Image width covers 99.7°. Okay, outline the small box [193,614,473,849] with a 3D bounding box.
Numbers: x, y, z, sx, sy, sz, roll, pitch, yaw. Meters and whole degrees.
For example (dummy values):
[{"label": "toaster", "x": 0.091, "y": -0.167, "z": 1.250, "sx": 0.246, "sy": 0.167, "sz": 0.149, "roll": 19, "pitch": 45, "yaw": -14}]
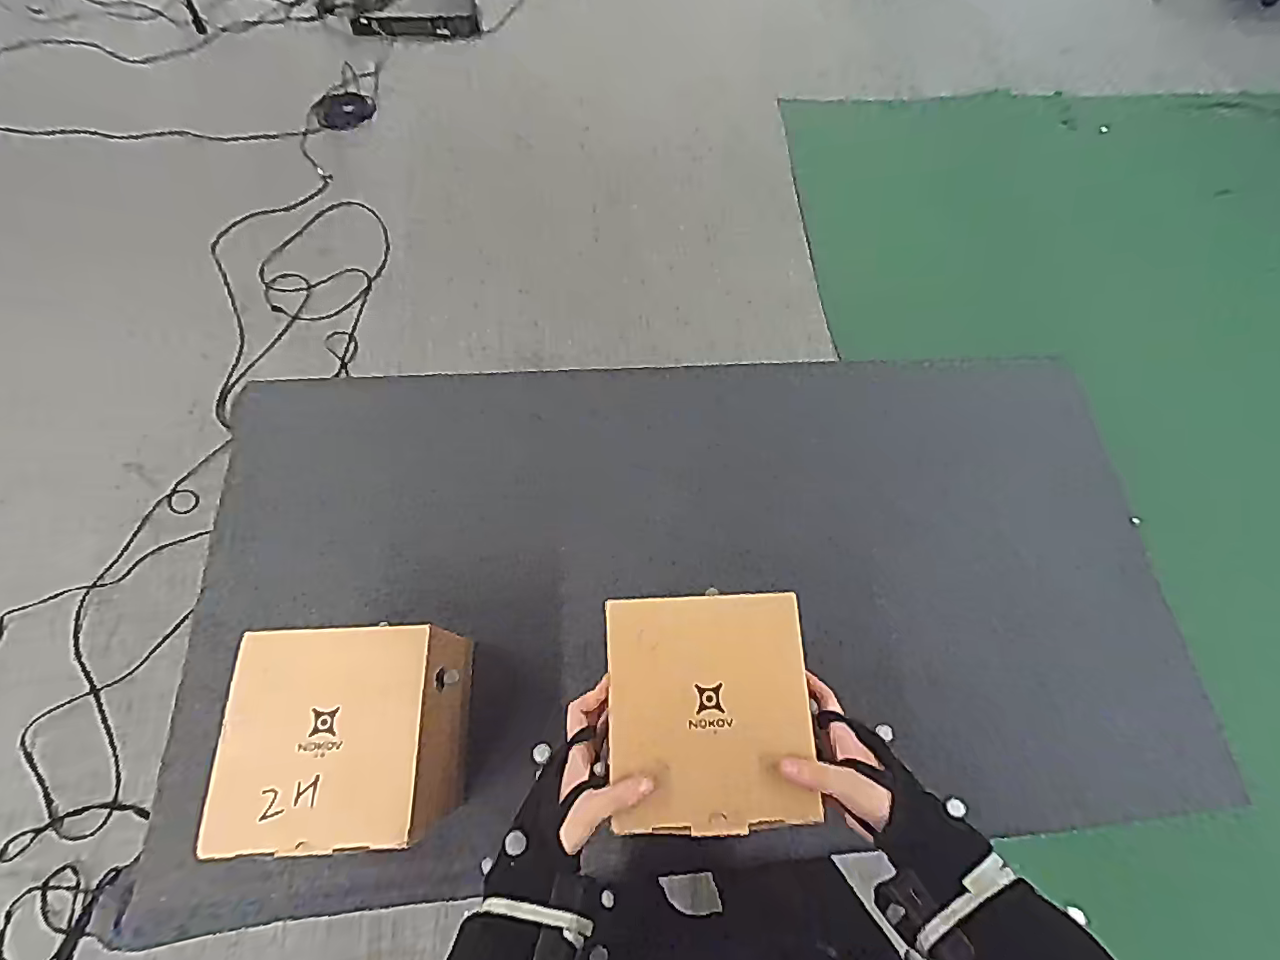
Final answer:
[{"label": "small box", "x": -0.265, "y": 0.231, "z": 0.520, "sx": 0.168, "sy": 0.176, "sz": 0.179, "roll": 0, "pitch": 68, "yaw": -4}]
